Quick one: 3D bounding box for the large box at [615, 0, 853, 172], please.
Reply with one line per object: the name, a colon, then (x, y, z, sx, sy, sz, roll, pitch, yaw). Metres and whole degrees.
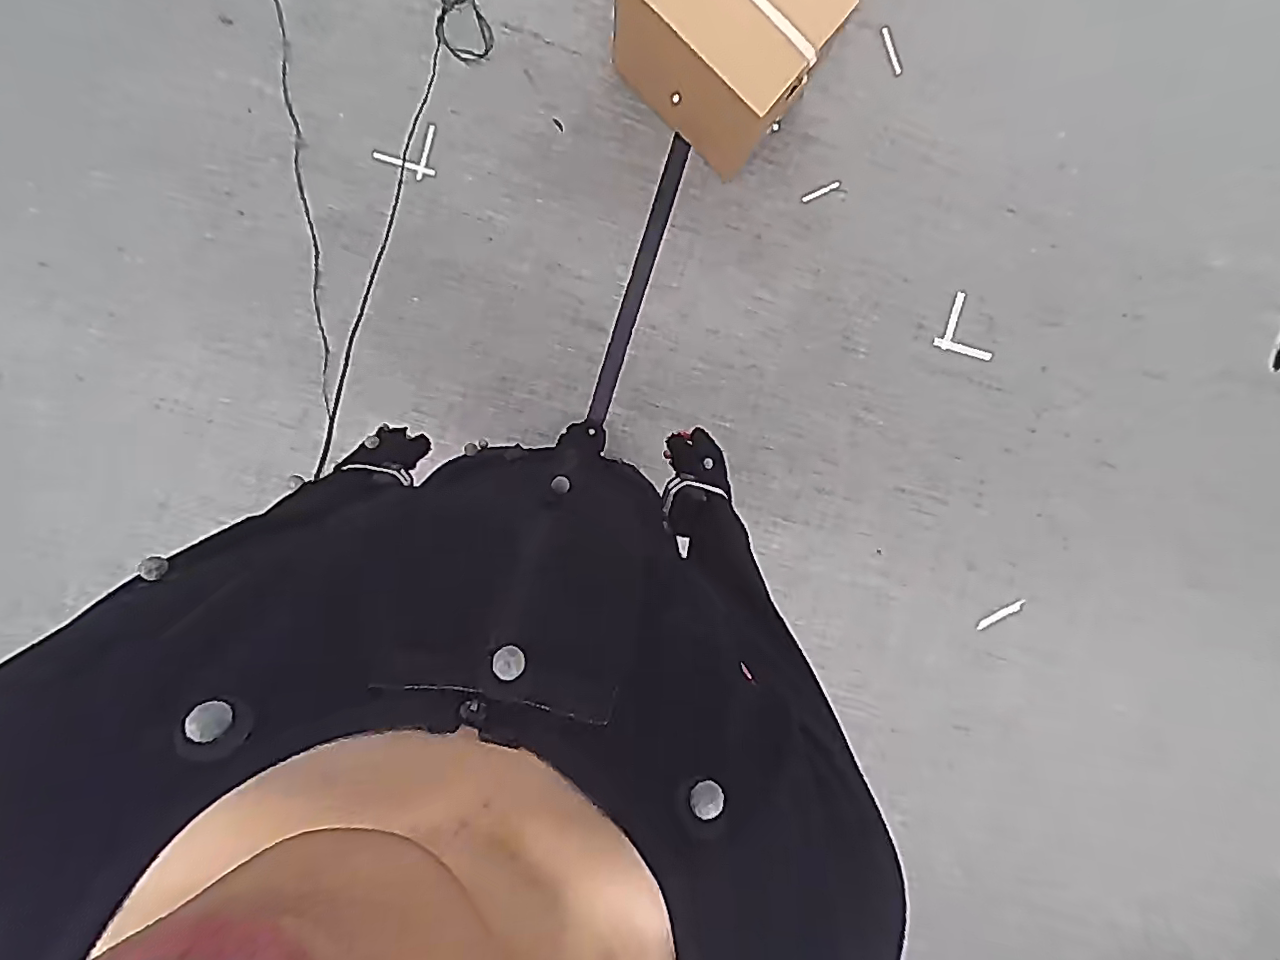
large box: (0.189, -1.021, 1.242, 0.408, 0.320, 0.320, 40, 92, -7)
